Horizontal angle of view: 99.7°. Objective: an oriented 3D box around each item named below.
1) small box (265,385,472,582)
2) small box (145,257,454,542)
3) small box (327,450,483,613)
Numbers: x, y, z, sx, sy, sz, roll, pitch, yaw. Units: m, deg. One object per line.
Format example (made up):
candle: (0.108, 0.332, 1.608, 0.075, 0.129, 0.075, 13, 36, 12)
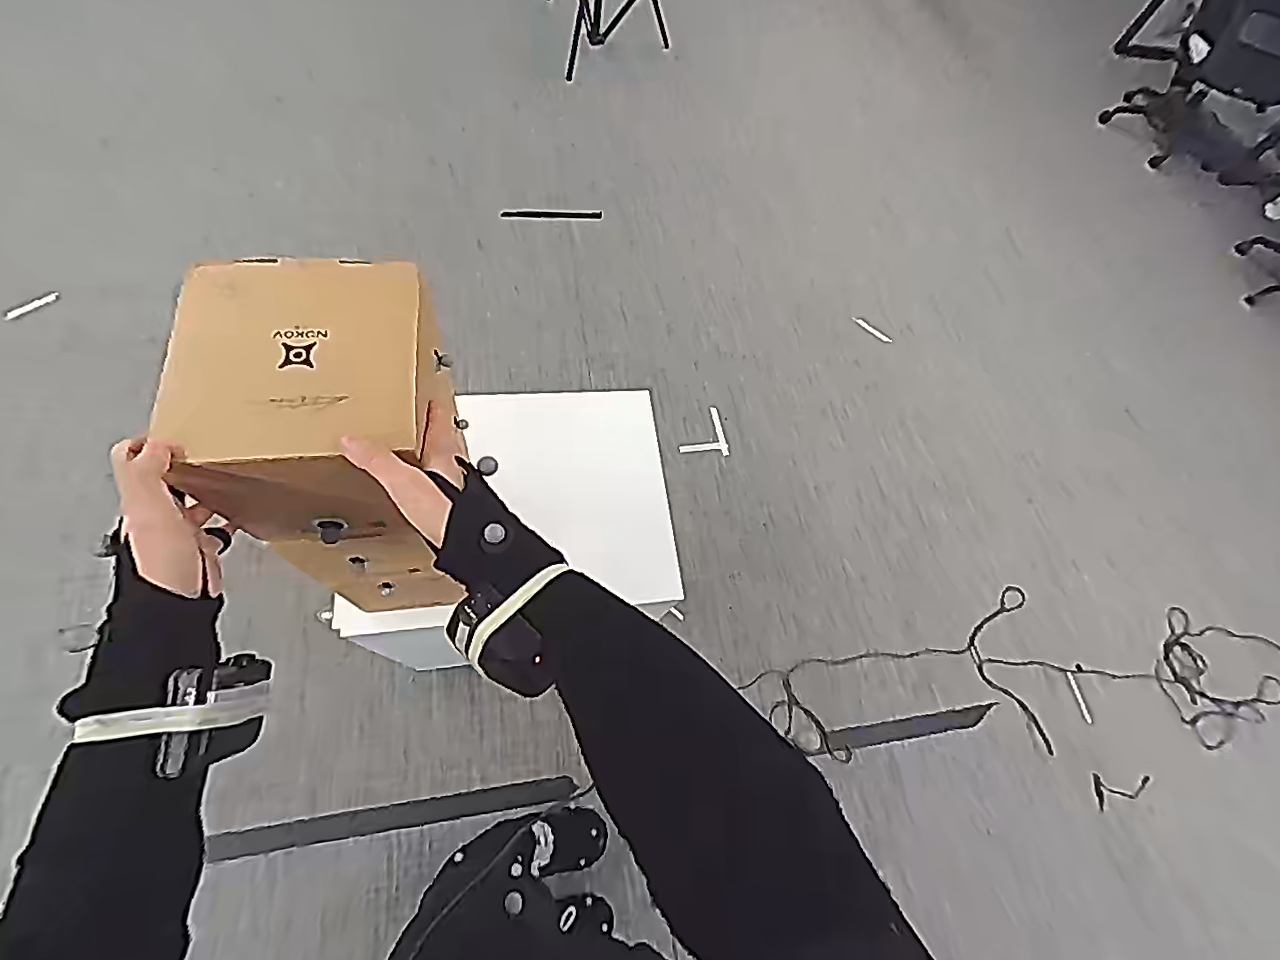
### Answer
small box: (-0.283, 0.009, 0.604, 0.168, 0.176, 0.179, -4, 67, -13)
small box: (-0.256, -0.060, 0.459, 0.168, 0.176, 0.179, -4, 67, -12)
small box: (-0.312, 0.074, 0.751, 0.168, 0.176, 0.179, -3, 65, -12)
